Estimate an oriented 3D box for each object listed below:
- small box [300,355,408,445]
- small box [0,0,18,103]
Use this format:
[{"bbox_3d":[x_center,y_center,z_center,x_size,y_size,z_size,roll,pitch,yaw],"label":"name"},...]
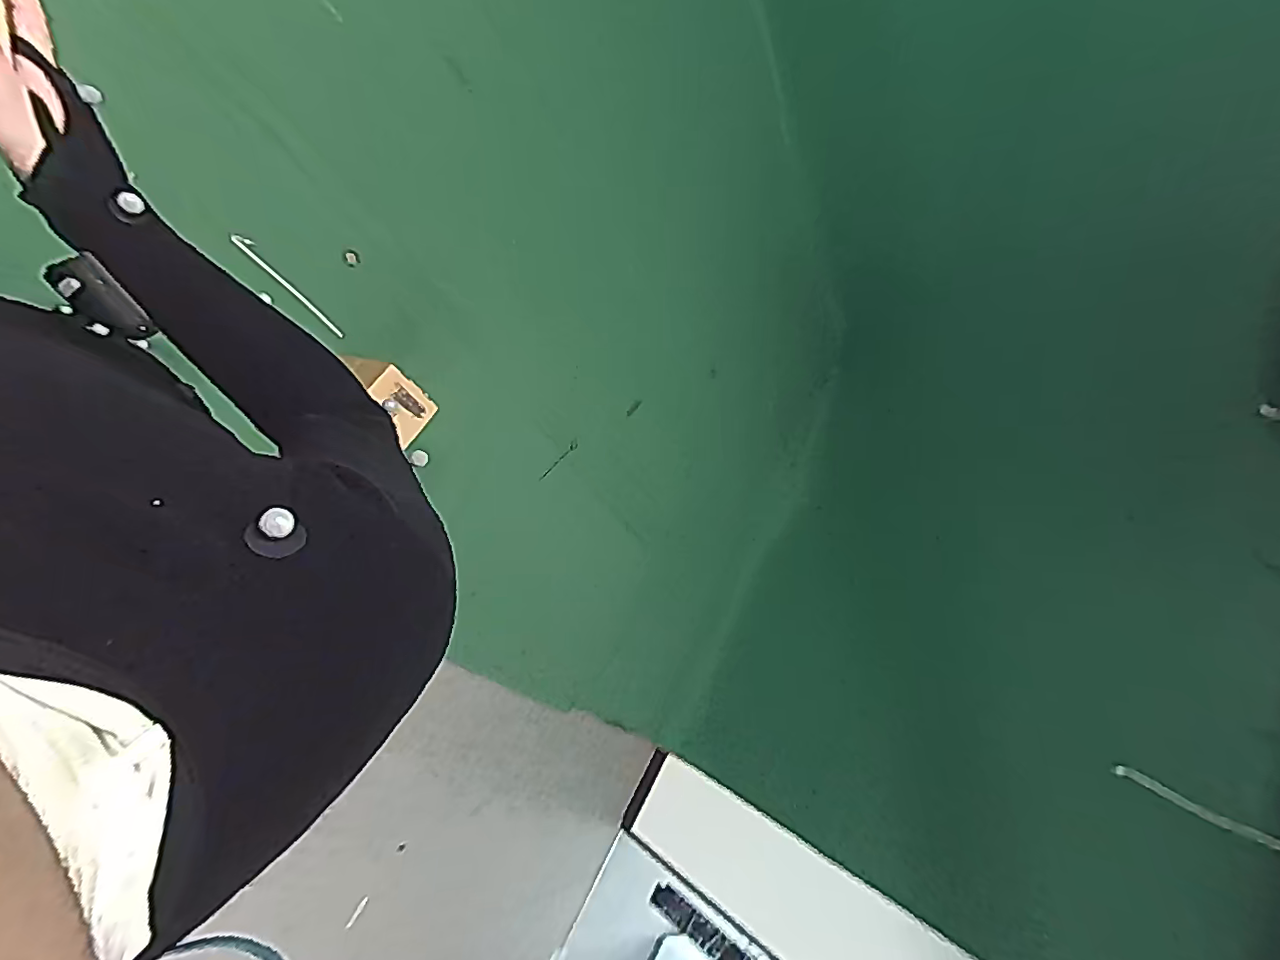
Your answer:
[{"bbox_3d":[-0.787,-0.224,1.482,0.179,0.176,0.168,-56,137,-19],"label":"small box"},{"bbox_3d":[-0.536,-0.374,0.341,0.168,0.176,0.179,-11,114,-48],"label":"small box"}]
